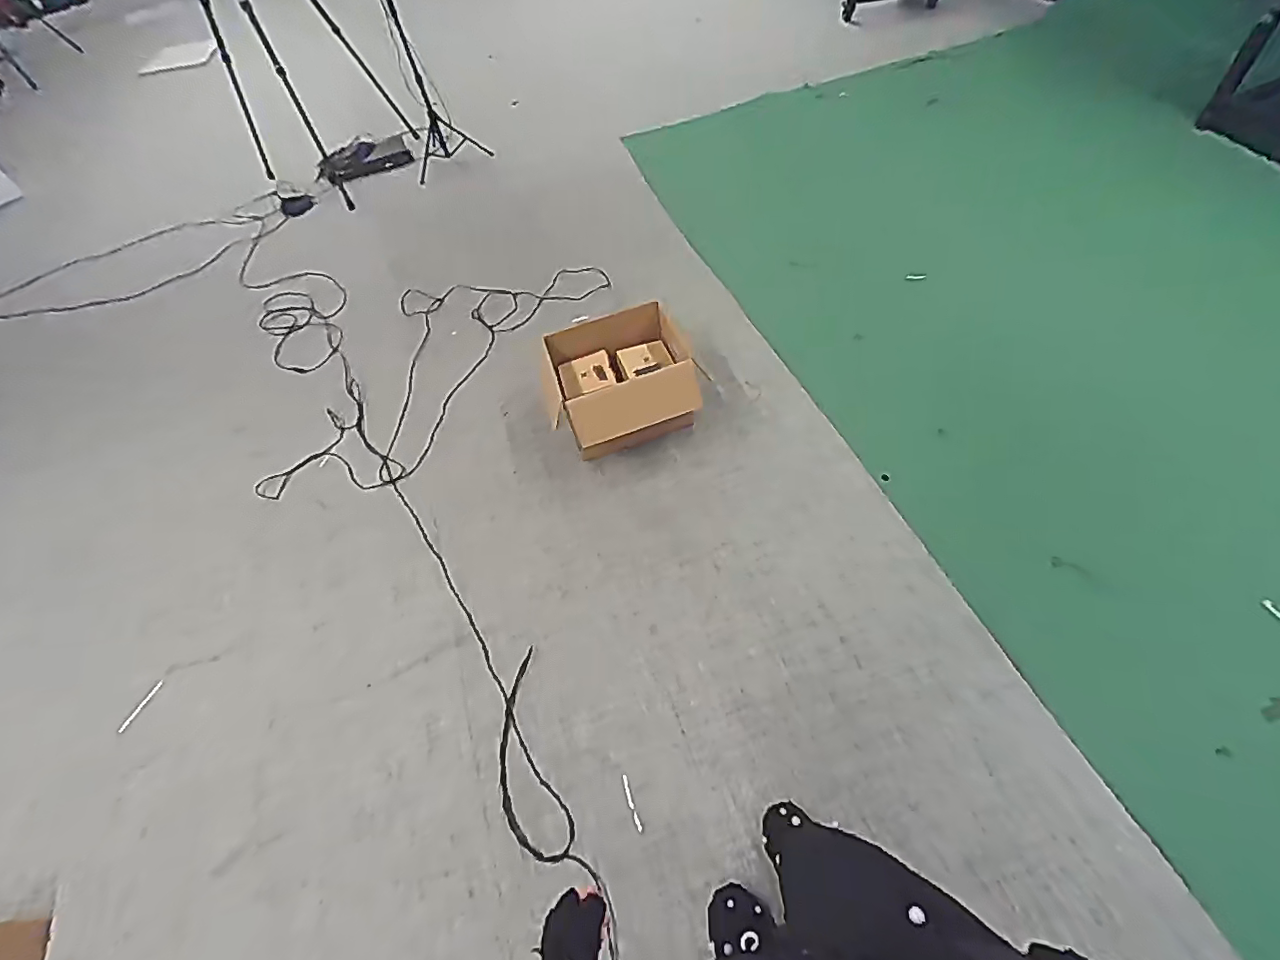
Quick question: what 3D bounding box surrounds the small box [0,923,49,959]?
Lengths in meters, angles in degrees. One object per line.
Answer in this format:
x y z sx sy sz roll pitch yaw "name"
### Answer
-1.405 1.058 1.123 0.168 0.176 0.179 -21 58 -8 "small box"
